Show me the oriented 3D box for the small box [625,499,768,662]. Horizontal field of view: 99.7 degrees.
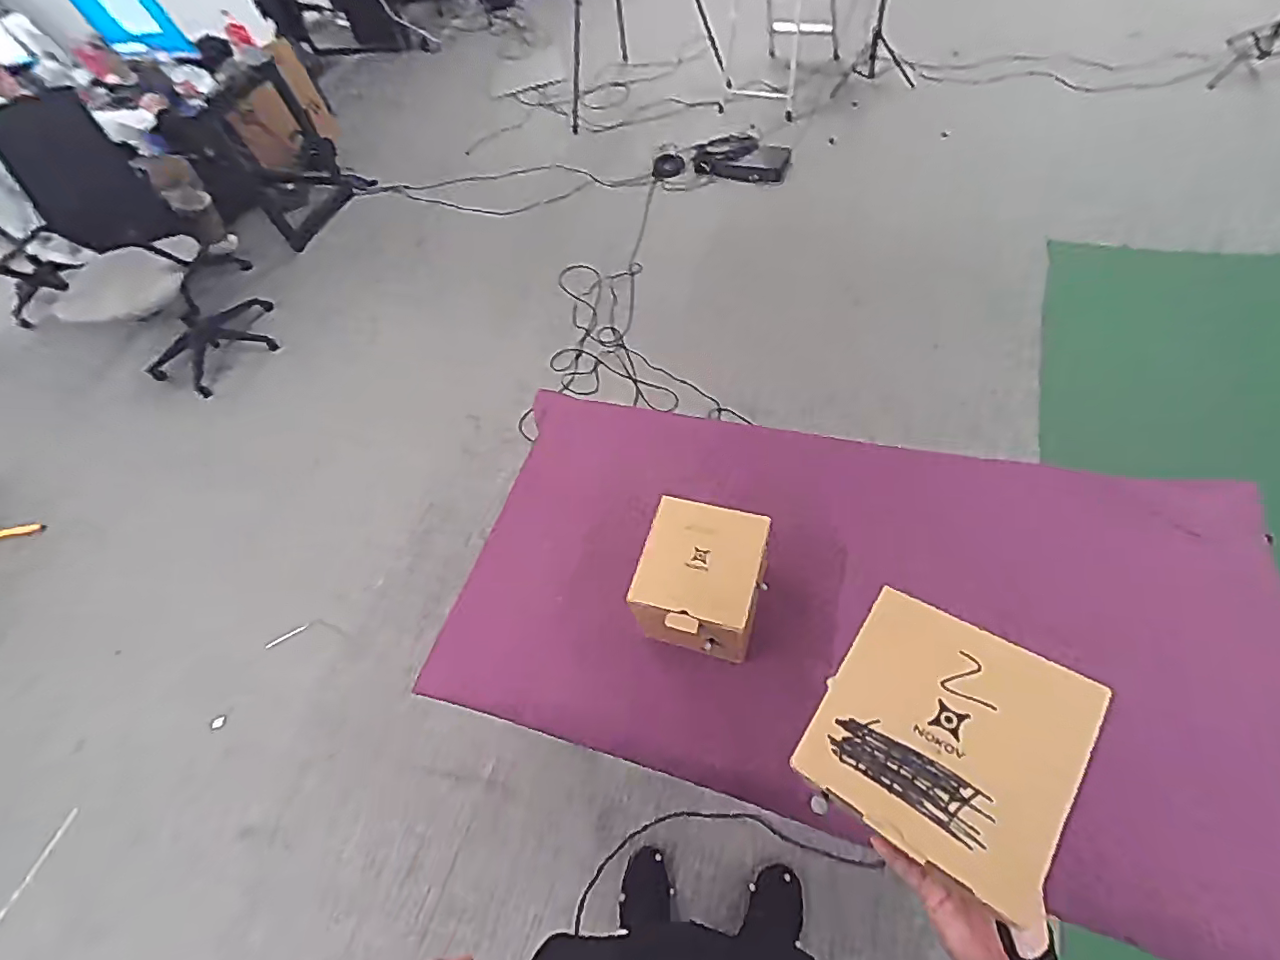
[{"bbox_3d":[0.094,0.158,0.828,0.168,0.176,0.179,12,60,17],"label":"small box"}]
